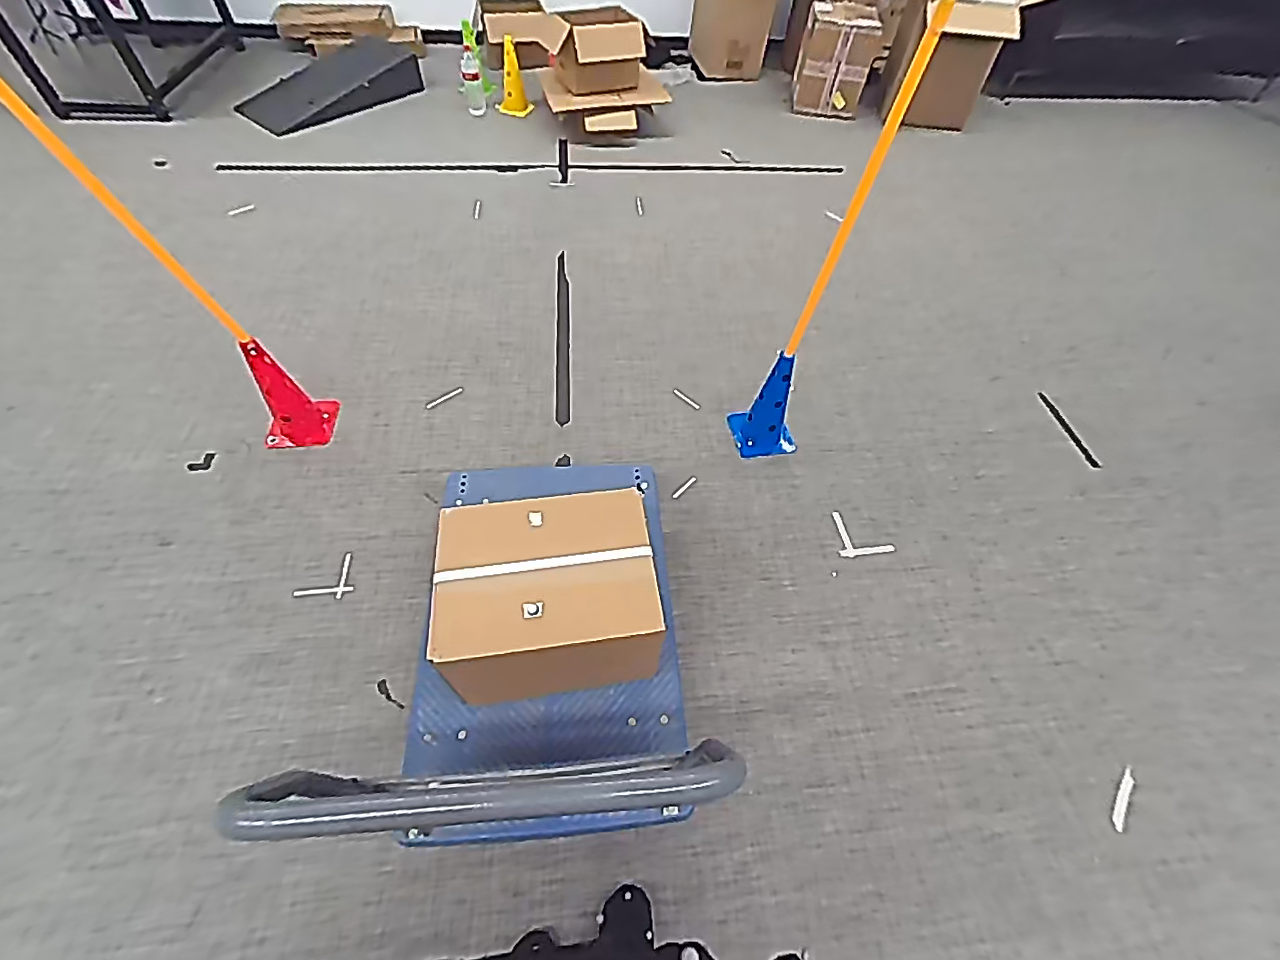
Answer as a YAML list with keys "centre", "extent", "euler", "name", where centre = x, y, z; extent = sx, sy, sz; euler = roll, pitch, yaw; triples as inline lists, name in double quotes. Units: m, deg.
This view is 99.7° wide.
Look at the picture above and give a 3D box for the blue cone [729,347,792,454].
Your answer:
- centre: [0.428, -0.264, 1.754]
  extent: [0.193, 0.380, 0.192]
  euler: [-6, 54, -8]
  name: "blue cone"
